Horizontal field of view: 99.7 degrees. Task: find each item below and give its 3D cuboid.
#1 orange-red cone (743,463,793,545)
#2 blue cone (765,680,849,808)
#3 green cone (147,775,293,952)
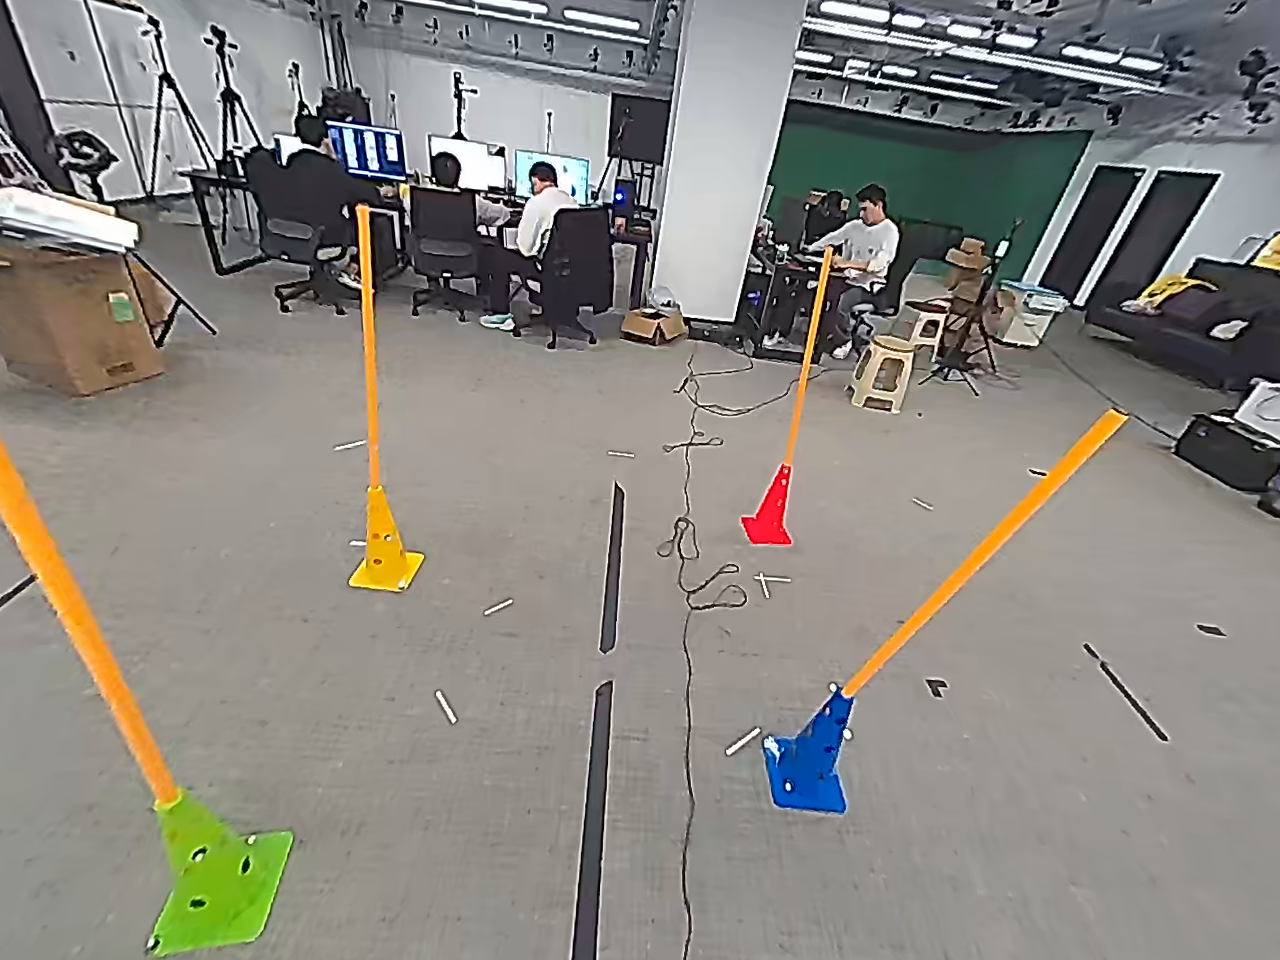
[{"bbox_3d":[0.597,0.087,2.355,0.199,0.360,0.198,3,32,-7],"label":"orange-red cone"},{"bbox_3d":[0.474,0.670,1.417,0.193,0.380,0.192,8,31,-1],"label":"blue cone"},{"bbox_3d":[-0.835,0.693,1.033,0.200,0.368,0.202,1,31,-13],"label":"green cone"}]
